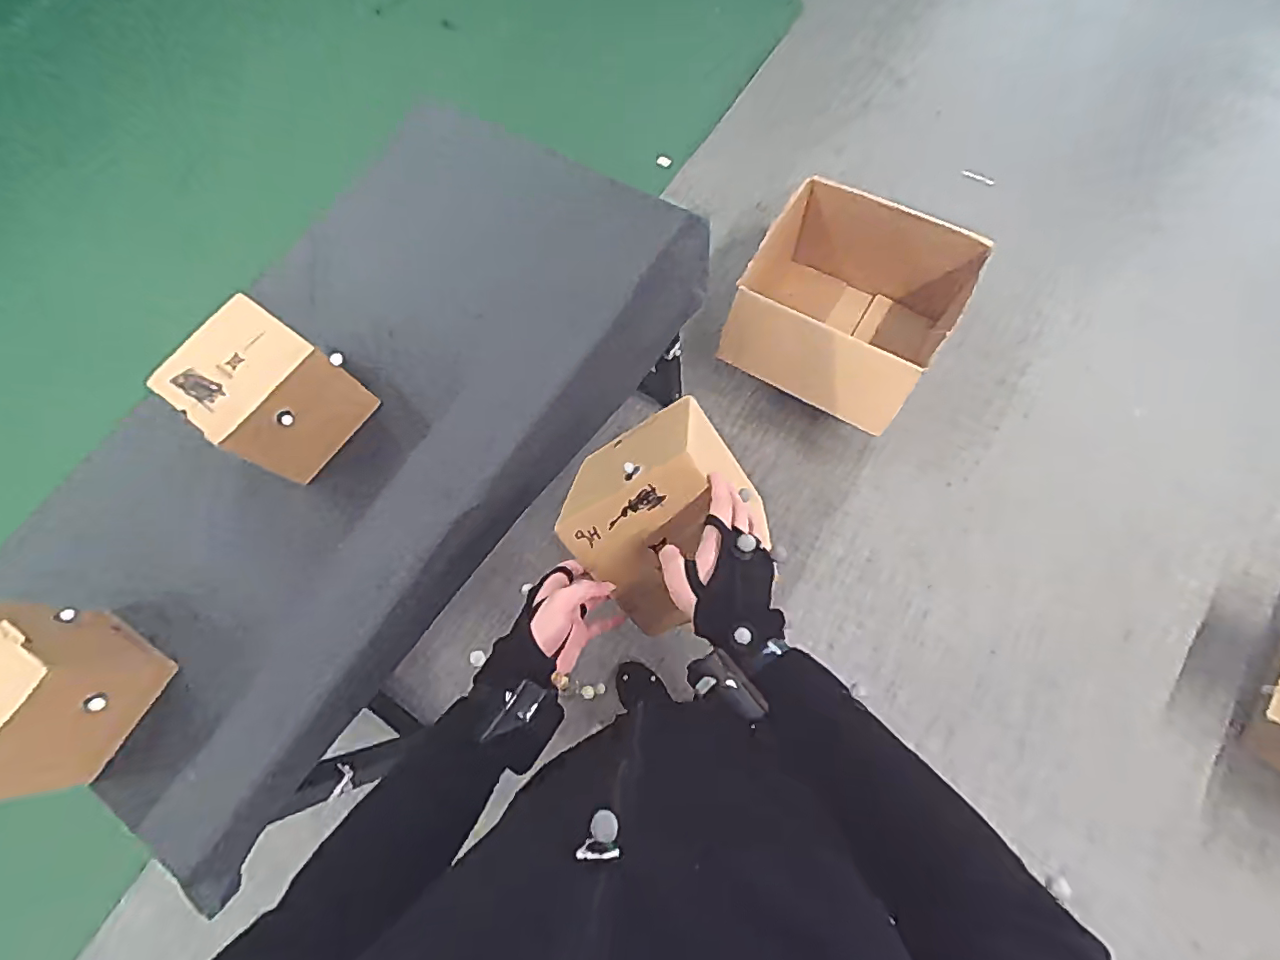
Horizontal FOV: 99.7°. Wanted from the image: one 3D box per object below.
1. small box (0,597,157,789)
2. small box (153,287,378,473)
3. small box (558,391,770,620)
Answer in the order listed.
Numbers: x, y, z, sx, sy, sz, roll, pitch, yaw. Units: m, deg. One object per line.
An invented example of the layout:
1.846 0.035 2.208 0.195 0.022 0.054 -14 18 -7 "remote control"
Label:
-0.773 0.259 0.680 0.168 0.176 0.179 28 77 14 "small box"
-0.535 -0.136 0.798 0.168 0.176 0.179 38 79 13 "small box"
0.036 0.025 0.641 0.168 0.176 0.179 -31 110 22 "small box"
